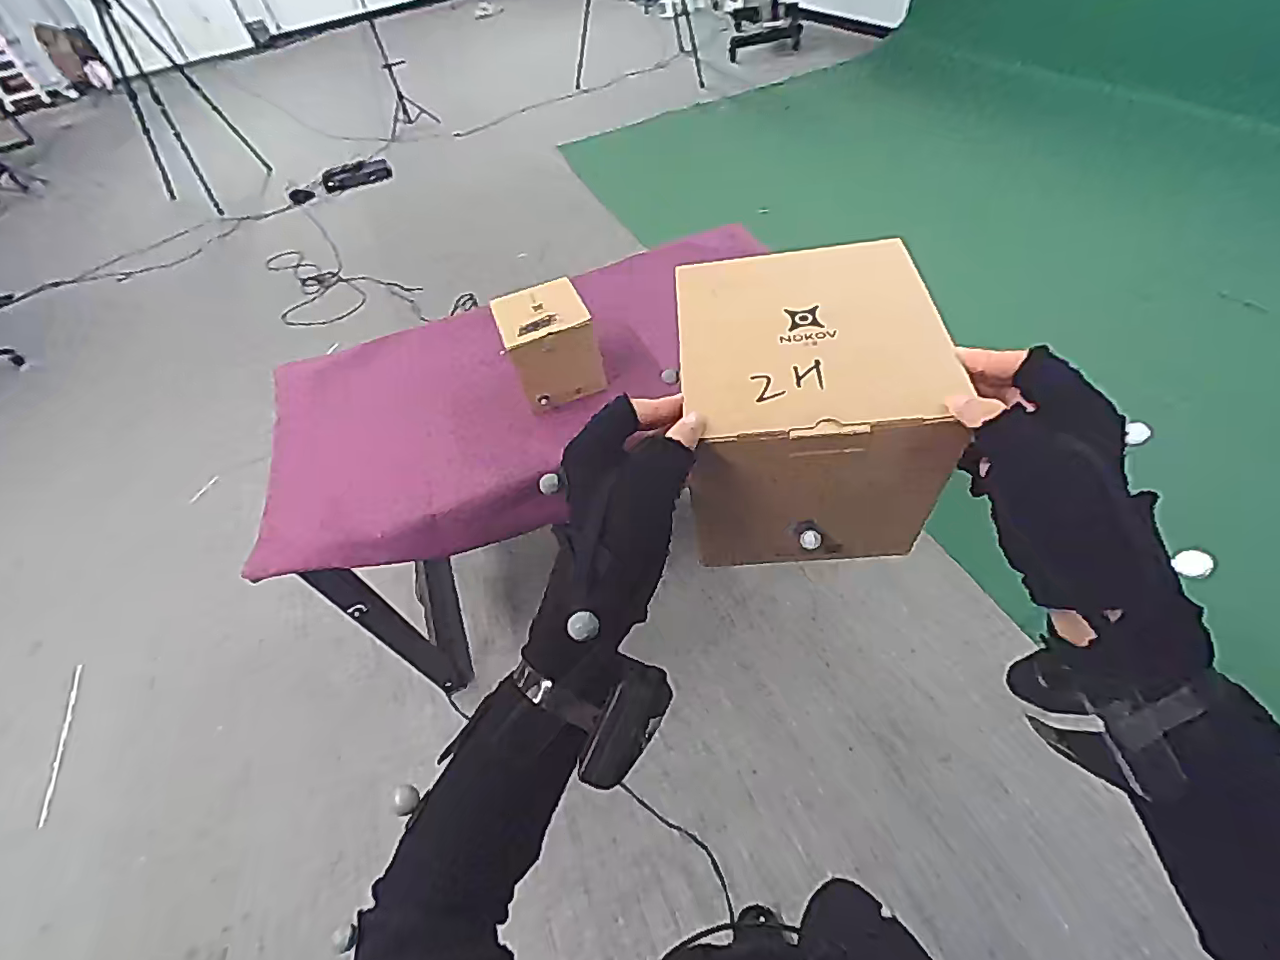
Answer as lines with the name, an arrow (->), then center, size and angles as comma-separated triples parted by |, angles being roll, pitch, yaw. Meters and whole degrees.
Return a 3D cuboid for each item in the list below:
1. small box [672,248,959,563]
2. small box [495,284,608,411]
small box -> 0.115, -0.052, 0.430 | 0.168, 0.176, 0.179 | -5, 54, 8
small box -> -0.176, -0.260, 1.097 | 0.168, 0.176, 0.179 | -21, 50, -8
